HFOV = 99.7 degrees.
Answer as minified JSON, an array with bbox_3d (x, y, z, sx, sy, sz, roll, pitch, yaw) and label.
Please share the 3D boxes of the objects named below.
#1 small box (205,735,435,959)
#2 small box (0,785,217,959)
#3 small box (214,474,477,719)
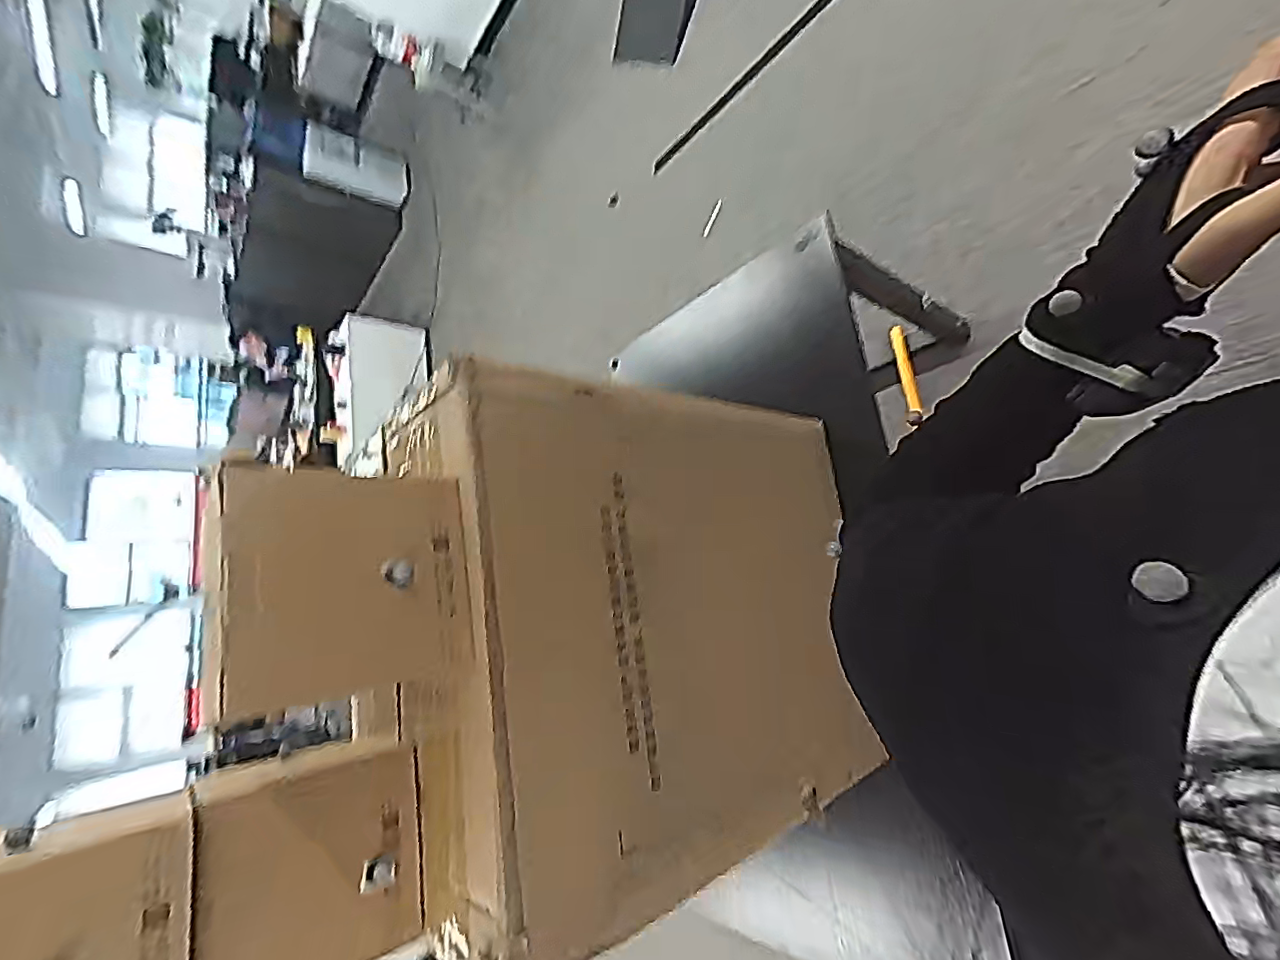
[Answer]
[{"bbox_3d":[-0.311,0.356,0.520,0.179,0.176,0.168,-27,68,45],"label":"small box"},{"bbox_3d":[-0.427,0.348,0.403,0.179,0.176,0.168,-25,69,46],"label":"small box"},{"bbox_3d":[-0.260,0.098,0.473,0.179,0.176,0.168,-23,72,46],"label":"small box"}]
